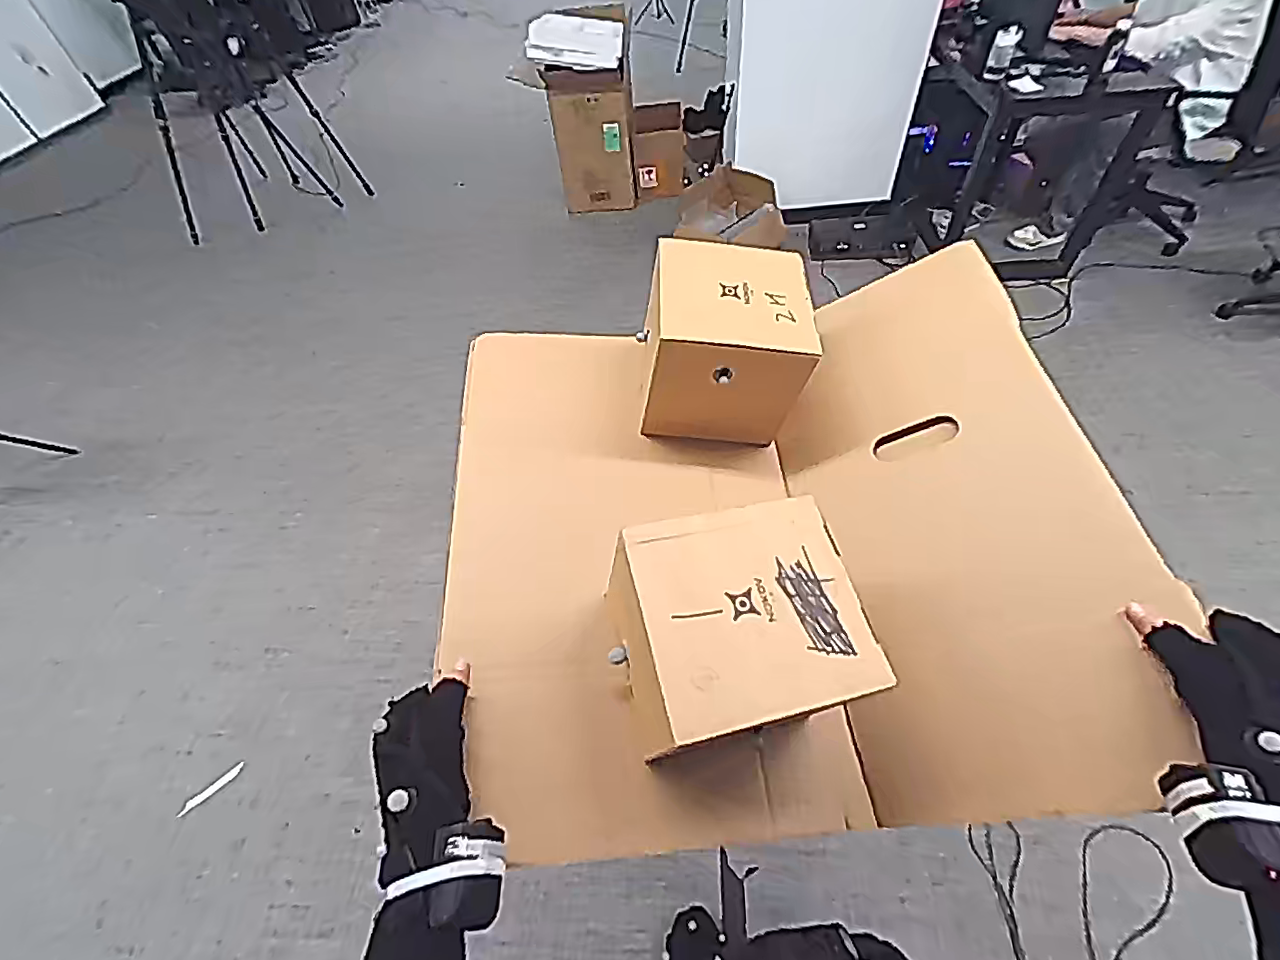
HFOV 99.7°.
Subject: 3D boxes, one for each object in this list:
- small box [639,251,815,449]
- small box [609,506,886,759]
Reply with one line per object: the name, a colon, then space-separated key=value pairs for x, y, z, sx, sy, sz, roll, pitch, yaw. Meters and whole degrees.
small box: x=0.094 y=-0.154 z=0.676 sx=0.179 sy=0.176 sz=0.168 roll=5 pitch=59 yaw=-6
small box: x=0.076 y=0.143 z=0.494 sx=0.179 sy=0.176 sz=0.168 roll=-9 pitch=61 yaw=-13
